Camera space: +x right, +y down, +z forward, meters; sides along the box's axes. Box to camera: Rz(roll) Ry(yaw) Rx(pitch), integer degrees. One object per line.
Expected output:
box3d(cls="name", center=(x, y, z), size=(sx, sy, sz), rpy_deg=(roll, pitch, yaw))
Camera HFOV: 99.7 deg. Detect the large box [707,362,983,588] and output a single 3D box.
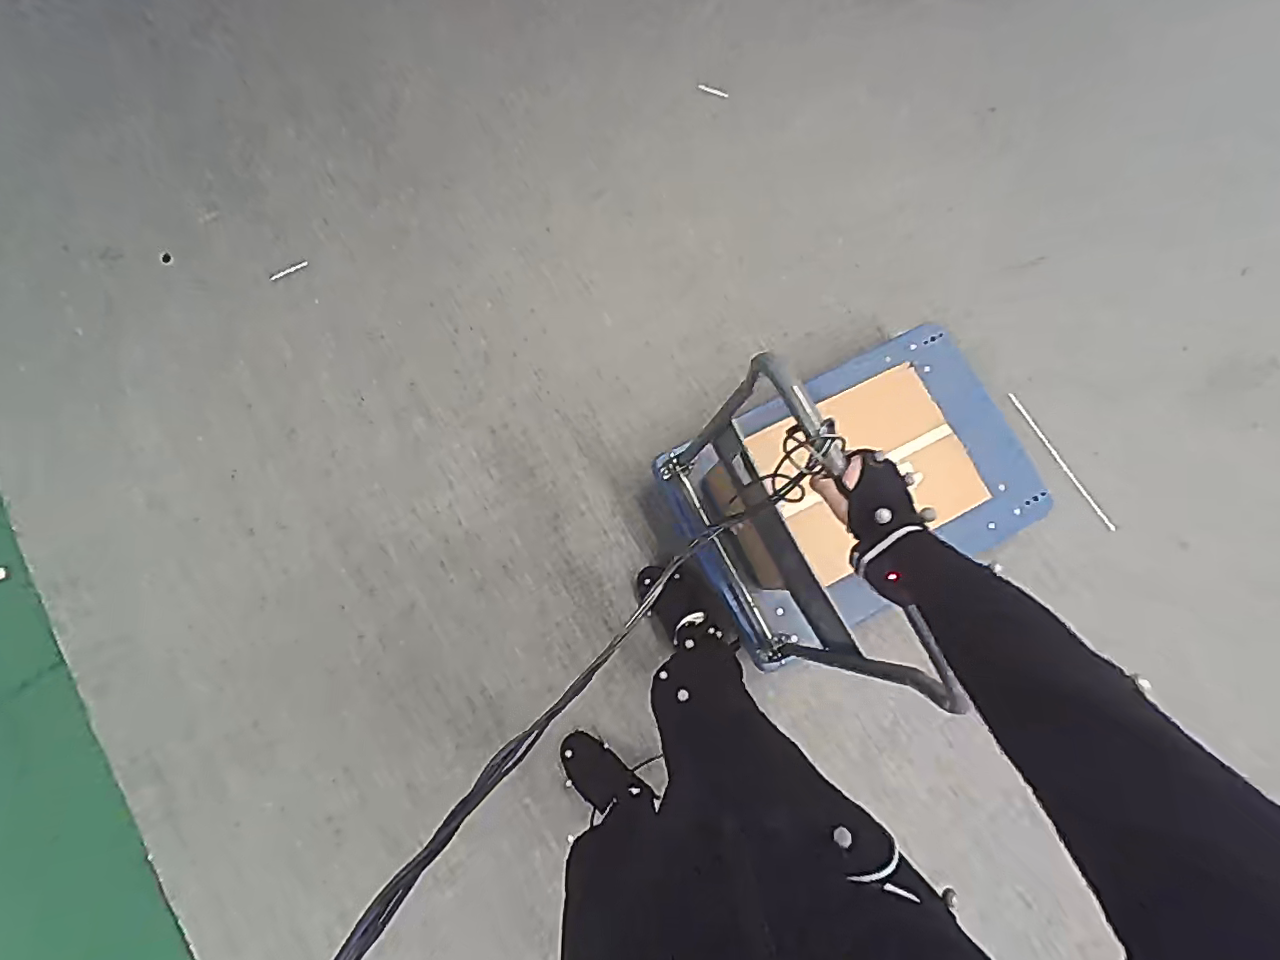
box3d(cls="large box", center=(0.413, 0.010, 1.182), size=(0.408, 0.320, 0.320), rpy_deg=(-25, 82, -9))
